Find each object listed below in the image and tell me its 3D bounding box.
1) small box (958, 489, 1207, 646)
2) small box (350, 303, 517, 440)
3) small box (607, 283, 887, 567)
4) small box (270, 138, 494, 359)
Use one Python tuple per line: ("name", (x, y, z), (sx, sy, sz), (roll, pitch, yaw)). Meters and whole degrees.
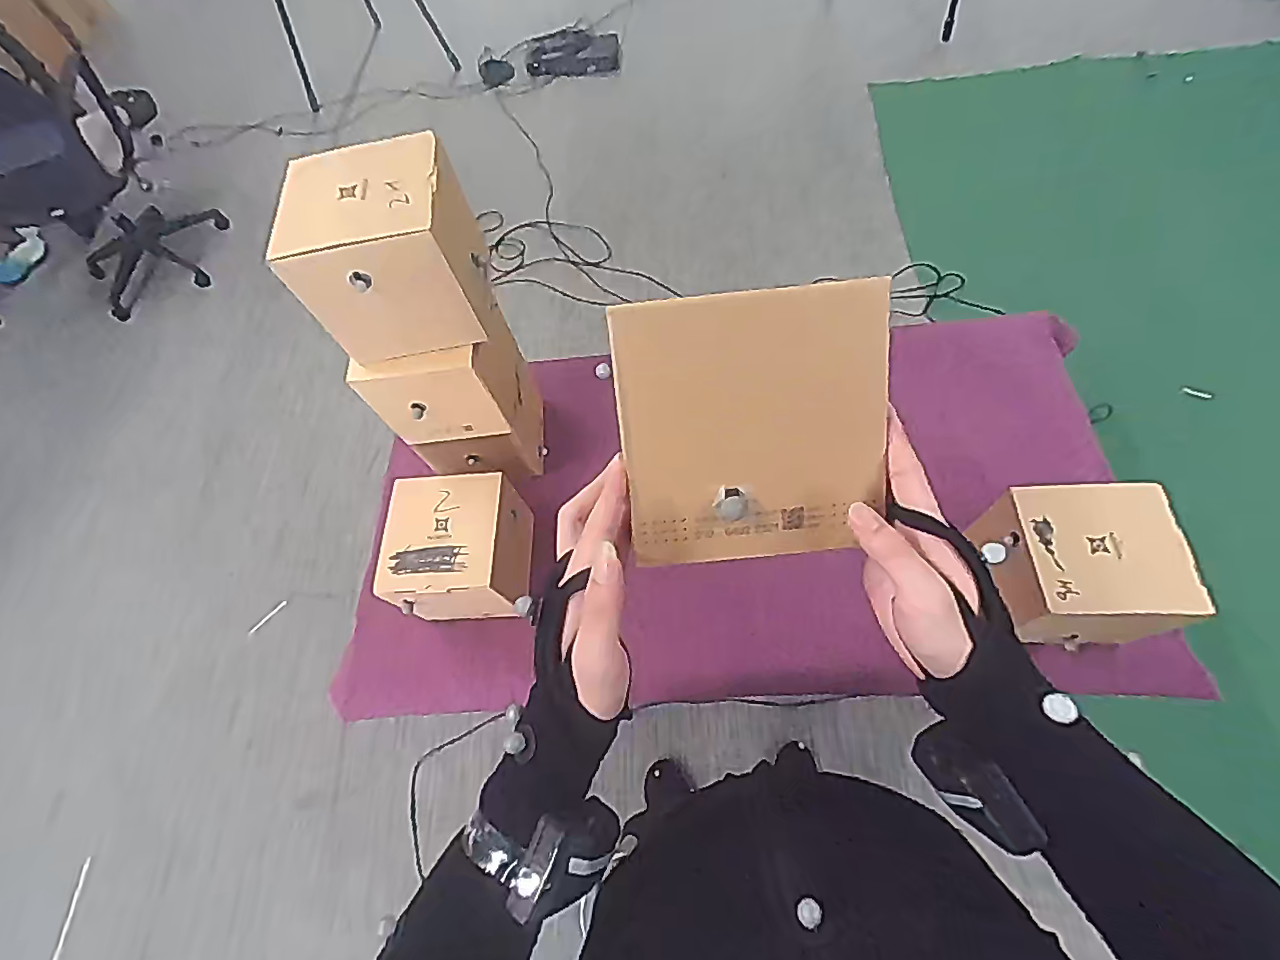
("small box", (0.563, 0.121, 0.721), (0.179, 0.176, 0.168), (-1, 62, 7))
("small box", (-0.284, -0.170, 0.786), (0.168, 0.176, 0.179), (-6, 63, 4))
("small box", (0.067, -0.047, 0.413), (0.168, 0.179, 0.176), (-6, 105, 0))
("small box", (-0.291, -0.266, 0.650), (0.179, 0.176, 0.168), (-9, 63, 2))
